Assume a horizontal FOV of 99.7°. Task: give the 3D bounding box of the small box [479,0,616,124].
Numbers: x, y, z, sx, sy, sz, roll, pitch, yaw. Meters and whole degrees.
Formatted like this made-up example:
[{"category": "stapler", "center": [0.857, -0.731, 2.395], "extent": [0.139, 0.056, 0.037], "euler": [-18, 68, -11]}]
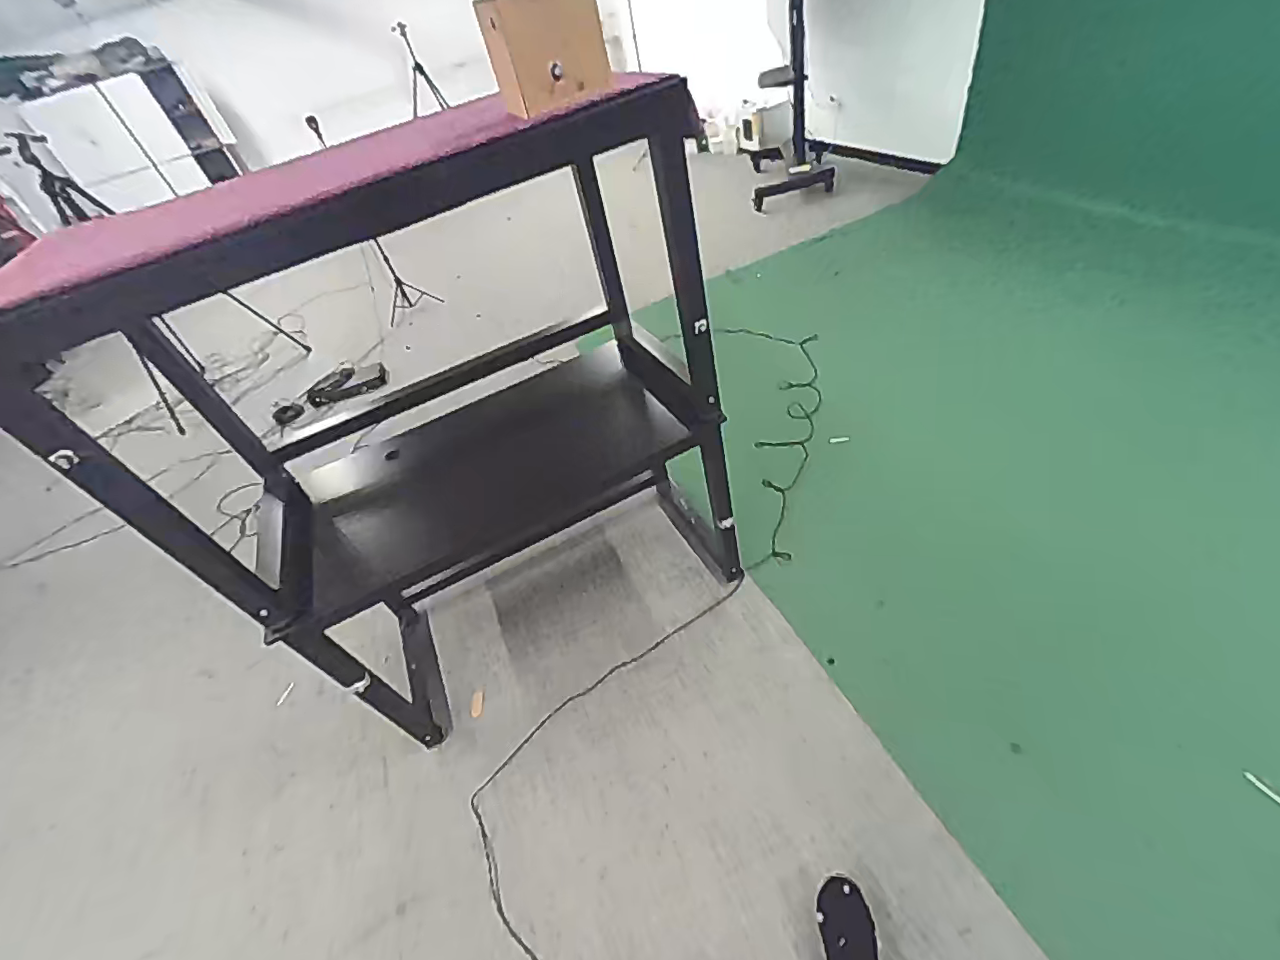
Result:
[{"category": "small box", "center": [-0.161, -0.750, 0.950], "extent": [0.168, 0.176, 0.179], "euler": [-26, 44, -9]}]
